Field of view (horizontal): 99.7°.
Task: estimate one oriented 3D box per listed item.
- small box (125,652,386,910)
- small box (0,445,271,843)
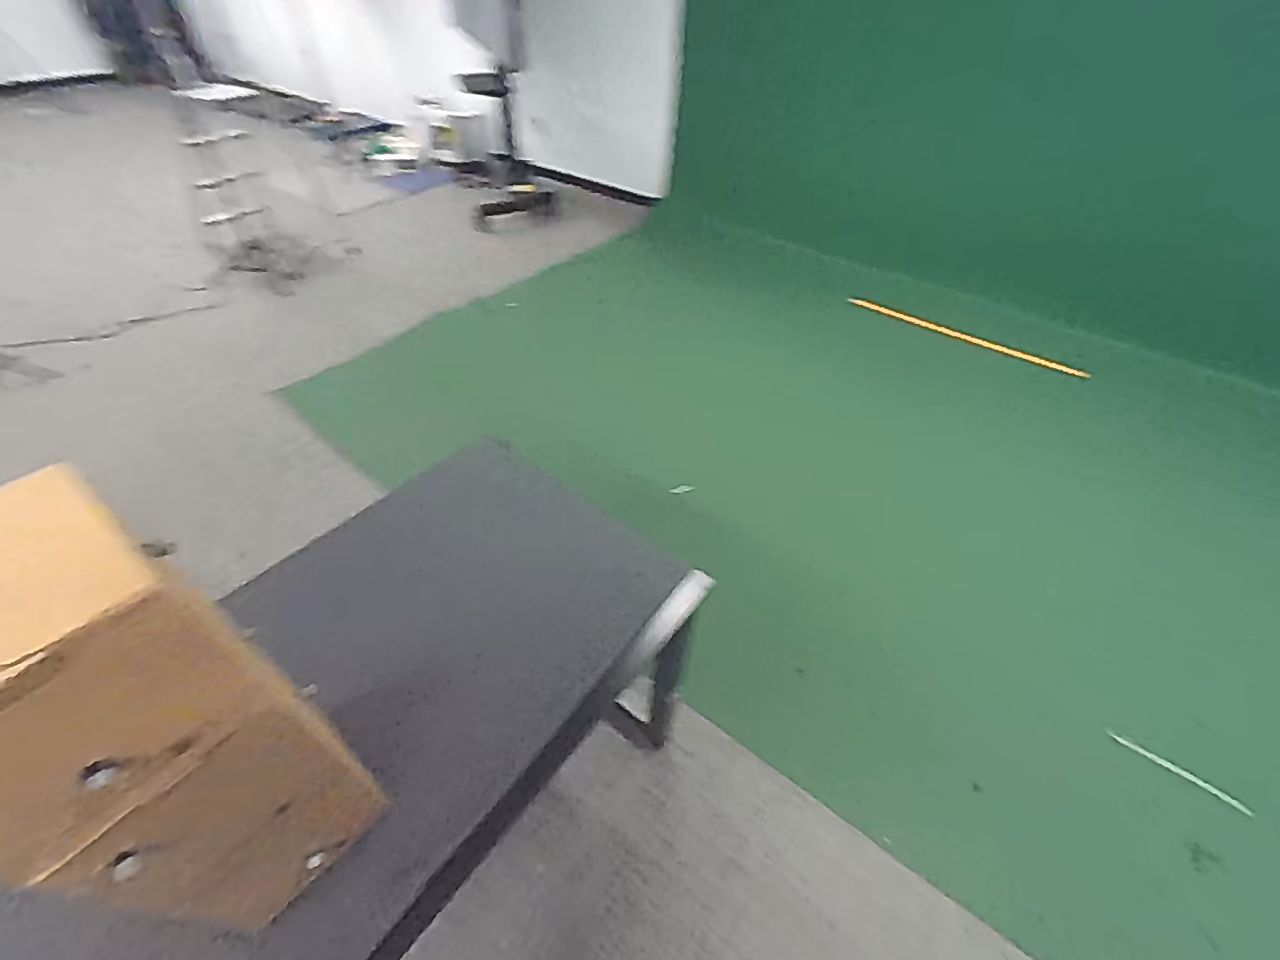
[{"bbox_3d":[-0.425,0.340,0.612,0.179,0.176,0.168,32,52,26],"label":"small box"},{"bbox_3d":[-0.412,0.111,0.380,0.179,0.176,0.168,30,50,25],"label":"small box"}]
